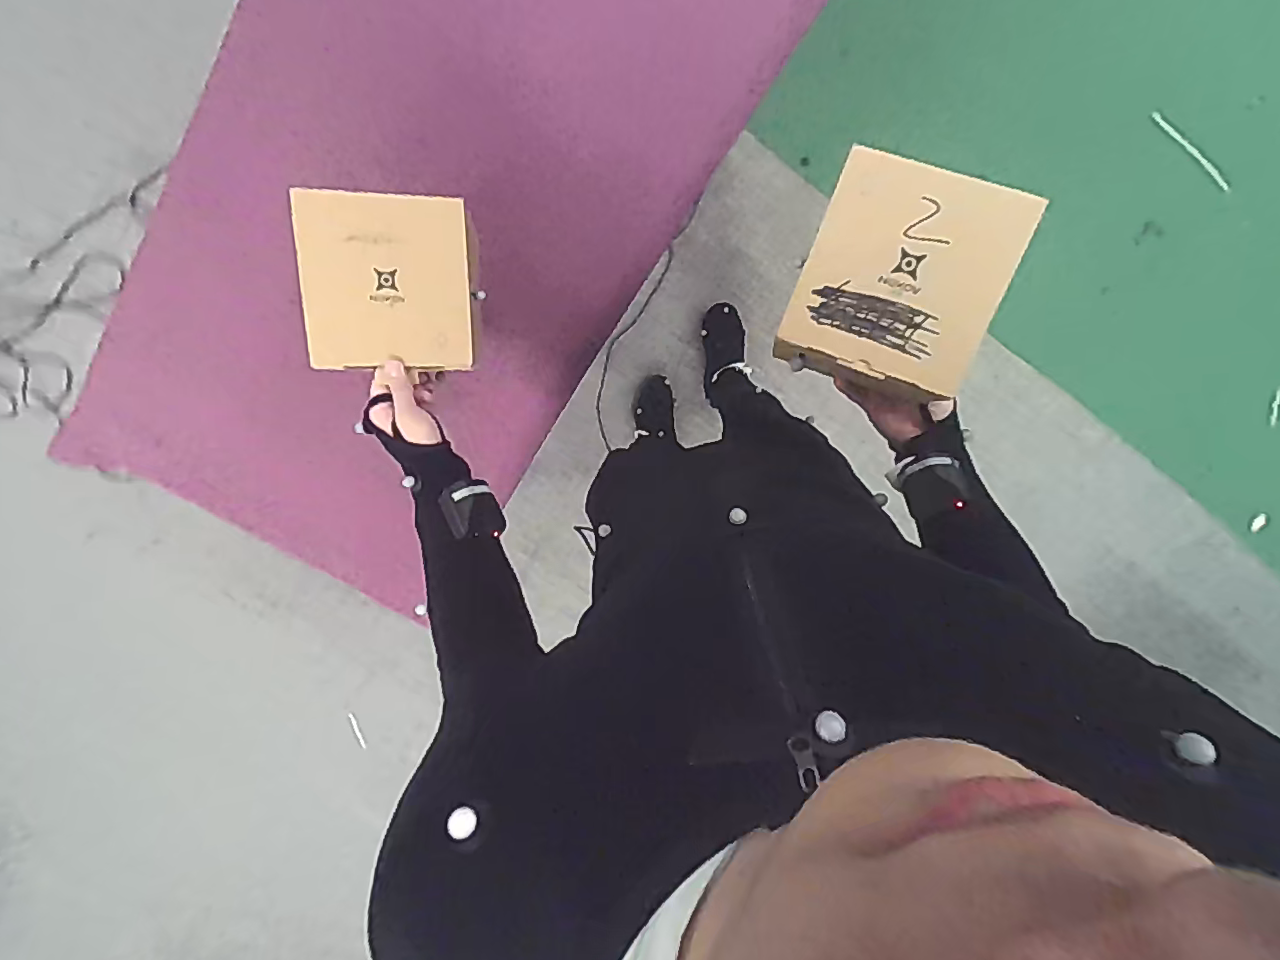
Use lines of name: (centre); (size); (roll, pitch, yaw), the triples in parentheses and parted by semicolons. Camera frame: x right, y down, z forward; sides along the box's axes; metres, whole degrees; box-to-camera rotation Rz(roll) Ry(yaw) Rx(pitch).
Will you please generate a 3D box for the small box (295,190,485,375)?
small box: (-0.276, -0.216, 0.637); (0.168, 0.176, 0.179); (-1, 101, -11)
